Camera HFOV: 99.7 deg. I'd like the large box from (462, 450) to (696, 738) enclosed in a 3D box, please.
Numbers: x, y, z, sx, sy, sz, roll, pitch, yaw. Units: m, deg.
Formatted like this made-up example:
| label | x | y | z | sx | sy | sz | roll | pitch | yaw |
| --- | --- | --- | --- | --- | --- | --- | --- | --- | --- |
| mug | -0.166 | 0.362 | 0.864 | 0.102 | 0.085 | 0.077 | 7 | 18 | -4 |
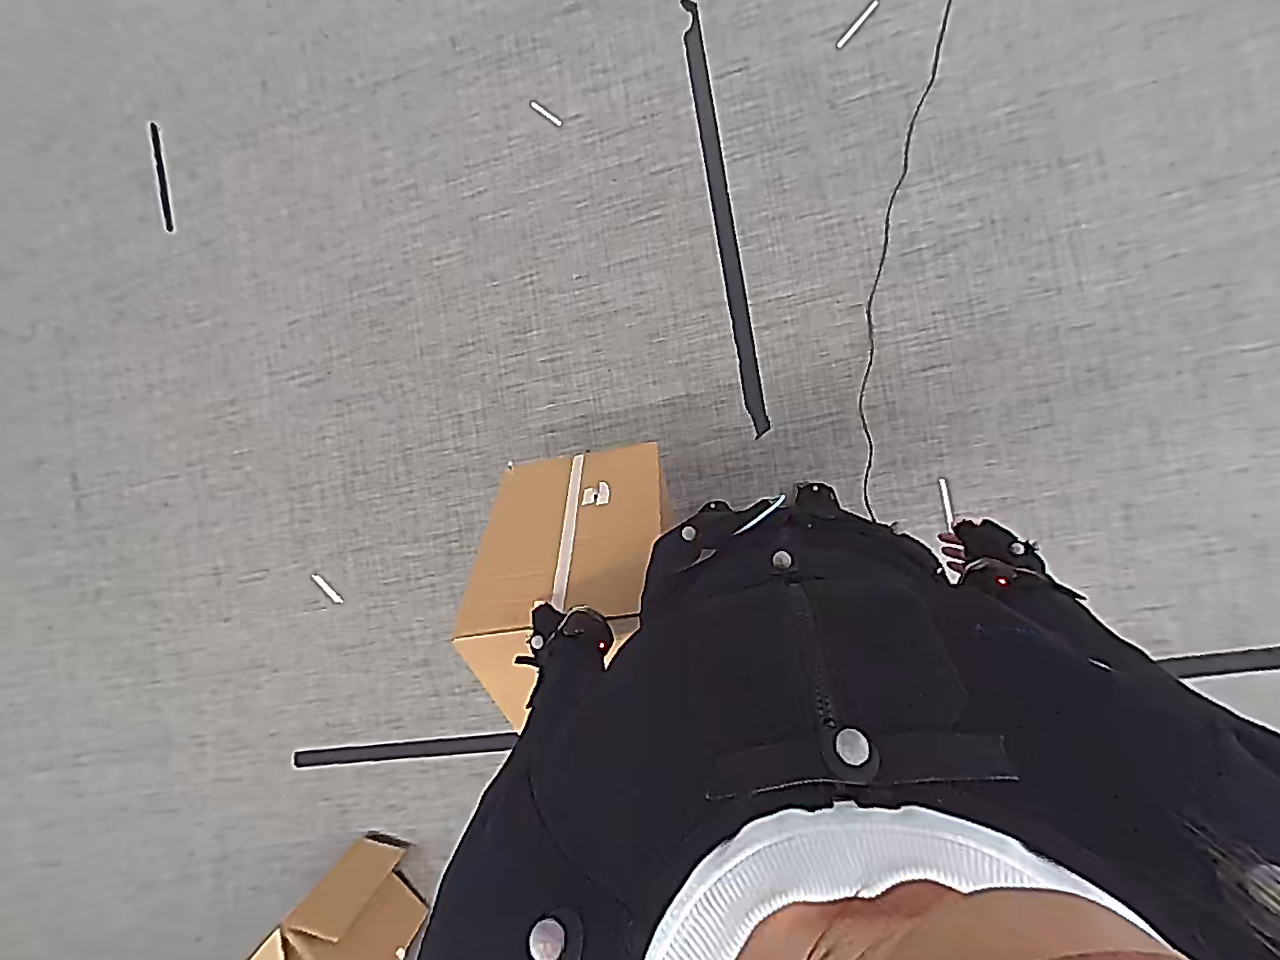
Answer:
| label | x | y | z | sx | sy | sz | roll | pitch | yaw |
| --- | --- | --- | --- | --- | --- | --- | --- | --- | --- |
| large box | -0.085 | 0.201 | 1.009 | 0.320 | 0.408 | 0.320 | -8 | 127 | 7 |
